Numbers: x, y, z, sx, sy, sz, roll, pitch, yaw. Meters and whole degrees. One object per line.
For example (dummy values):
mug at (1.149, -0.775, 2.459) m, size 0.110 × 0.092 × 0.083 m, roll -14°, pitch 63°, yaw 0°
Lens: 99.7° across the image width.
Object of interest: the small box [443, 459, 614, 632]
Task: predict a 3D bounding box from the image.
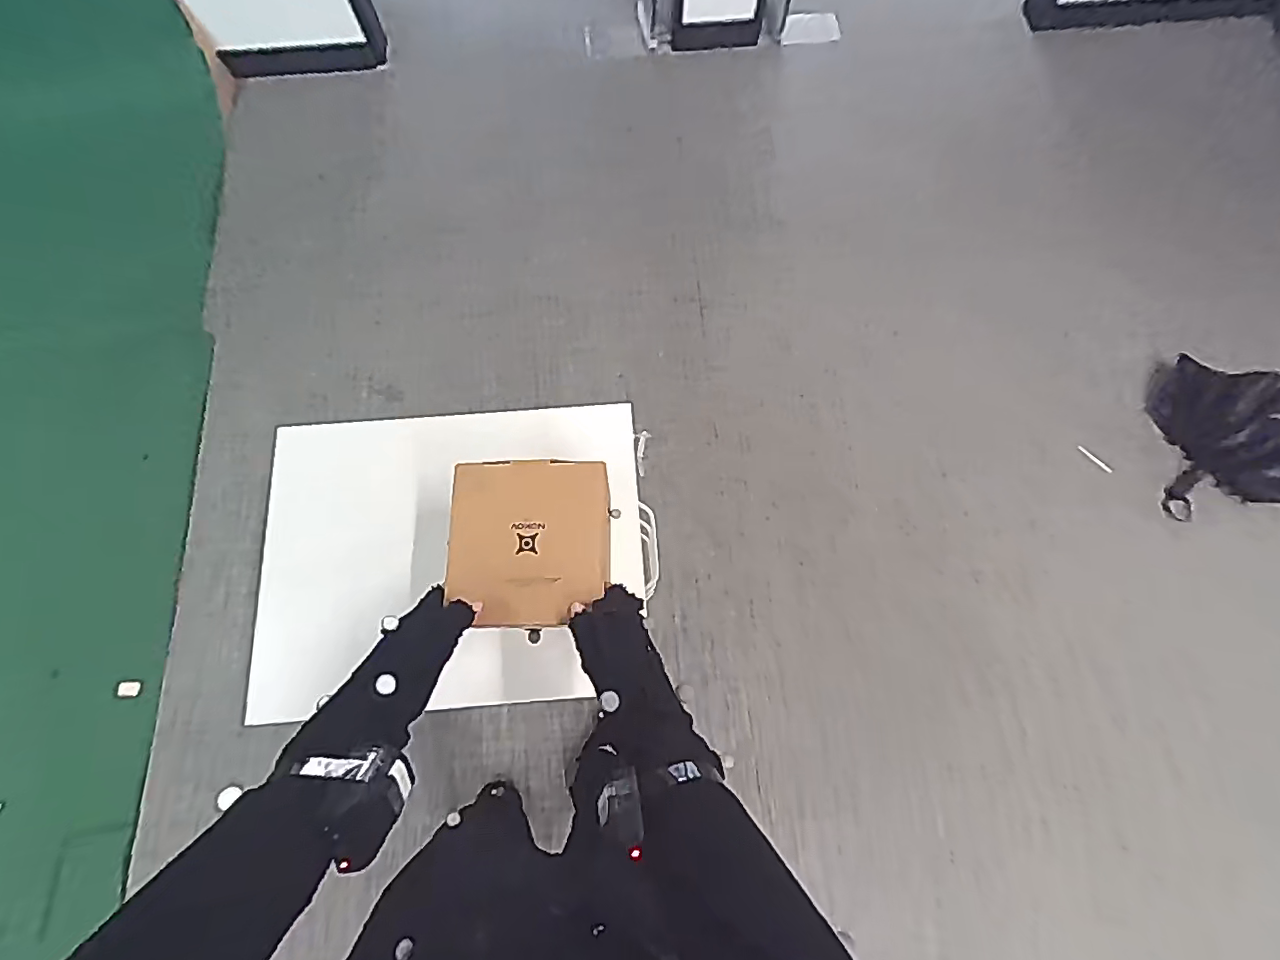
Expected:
small box at (-0.117, 0.085, 0.637) m, size 0.168 × 0.176 × 0.179 m, roll -2°, pitch 74°, yaw -1°
